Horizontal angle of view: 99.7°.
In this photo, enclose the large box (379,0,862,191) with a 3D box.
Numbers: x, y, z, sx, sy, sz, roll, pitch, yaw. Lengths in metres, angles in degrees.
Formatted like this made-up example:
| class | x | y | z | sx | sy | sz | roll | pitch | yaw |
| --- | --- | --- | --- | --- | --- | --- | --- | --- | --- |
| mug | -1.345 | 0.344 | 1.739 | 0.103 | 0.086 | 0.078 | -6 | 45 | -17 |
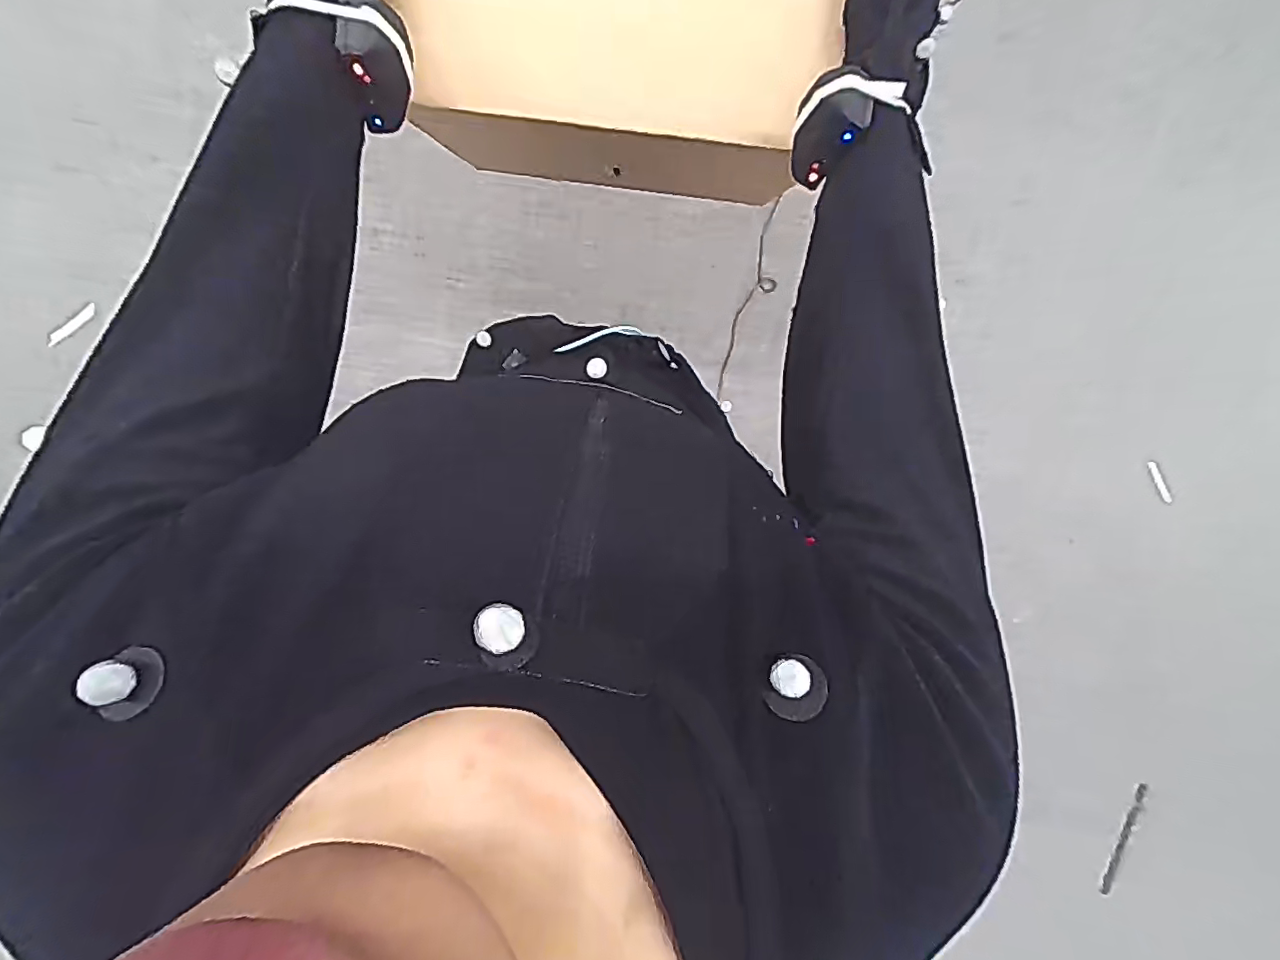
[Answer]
| class | x | y | z | sx | sy | sz | roll | pitch | yaw |
| --- | --- | --- | --- | --- | --- | --- | --- | --- | --- |
| large box | -0.007 | -0.507 | 0.560 | 0.408 | 0.320 | 0.320 | 6 | 109 | -2 |
